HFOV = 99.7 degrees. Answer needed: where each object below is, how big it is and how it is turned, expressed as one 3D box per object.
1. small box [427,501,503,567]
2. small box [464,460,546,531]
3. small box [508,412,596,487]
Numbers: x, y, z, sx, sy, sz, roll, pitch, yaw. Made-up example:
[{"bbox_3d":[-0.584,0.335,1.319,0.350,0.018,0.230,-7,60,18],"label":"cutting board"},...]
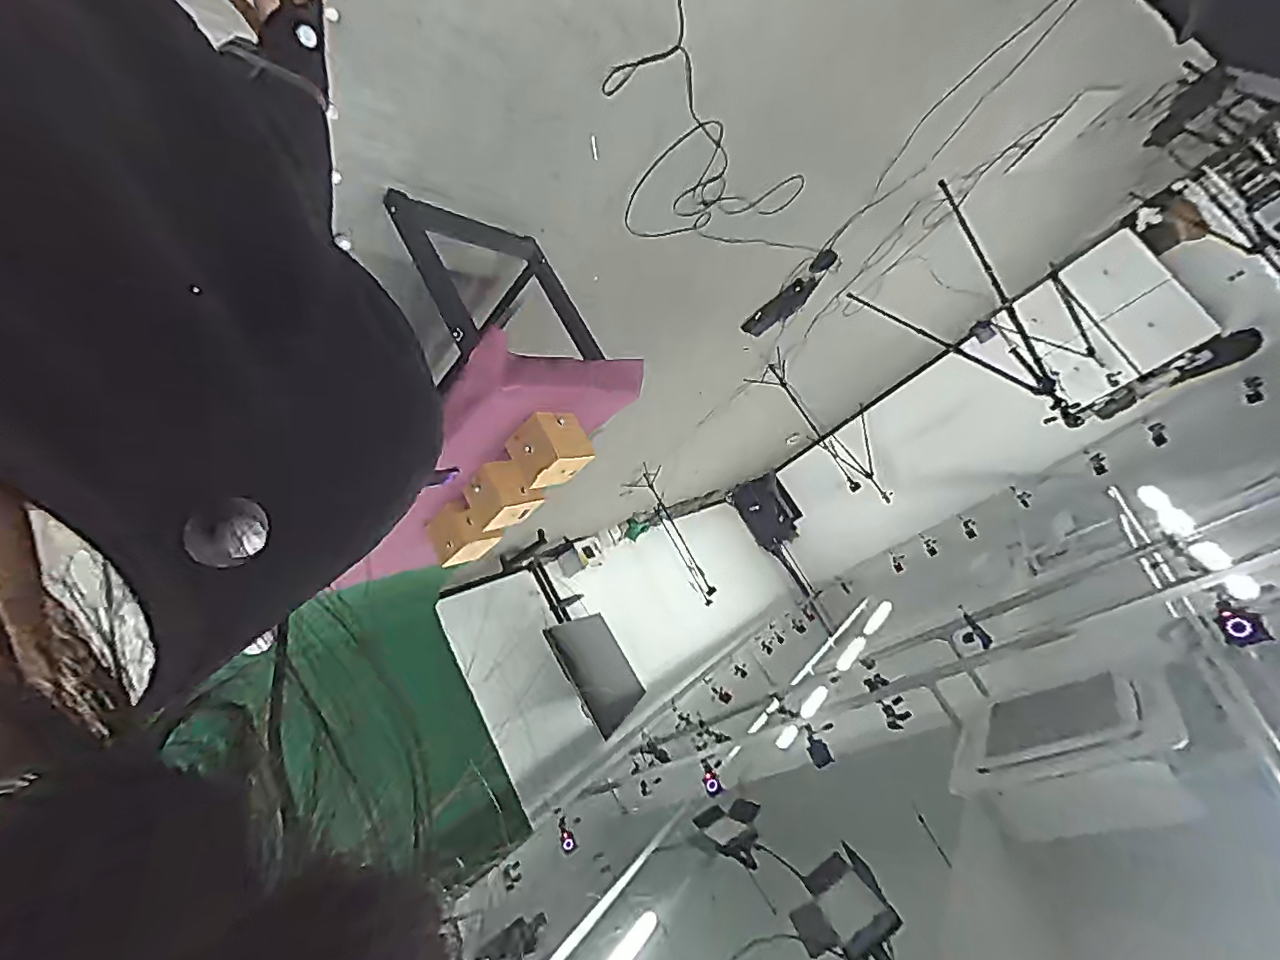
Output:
[{"bbox_3d":[-0.630,0.184,1.933,0.179,0.176,0.168,-38,164,28],"label":"small box"},{"bbox_3d":[-0.452,0.046,1.805,0.179,0.176,0.168,-12,157,-51],"label":"small box"},{"bbox_3d":[-0.274,-0.097,1.663,0.168,0.176,0.179,-38,163,31],"label":"small box"}]
